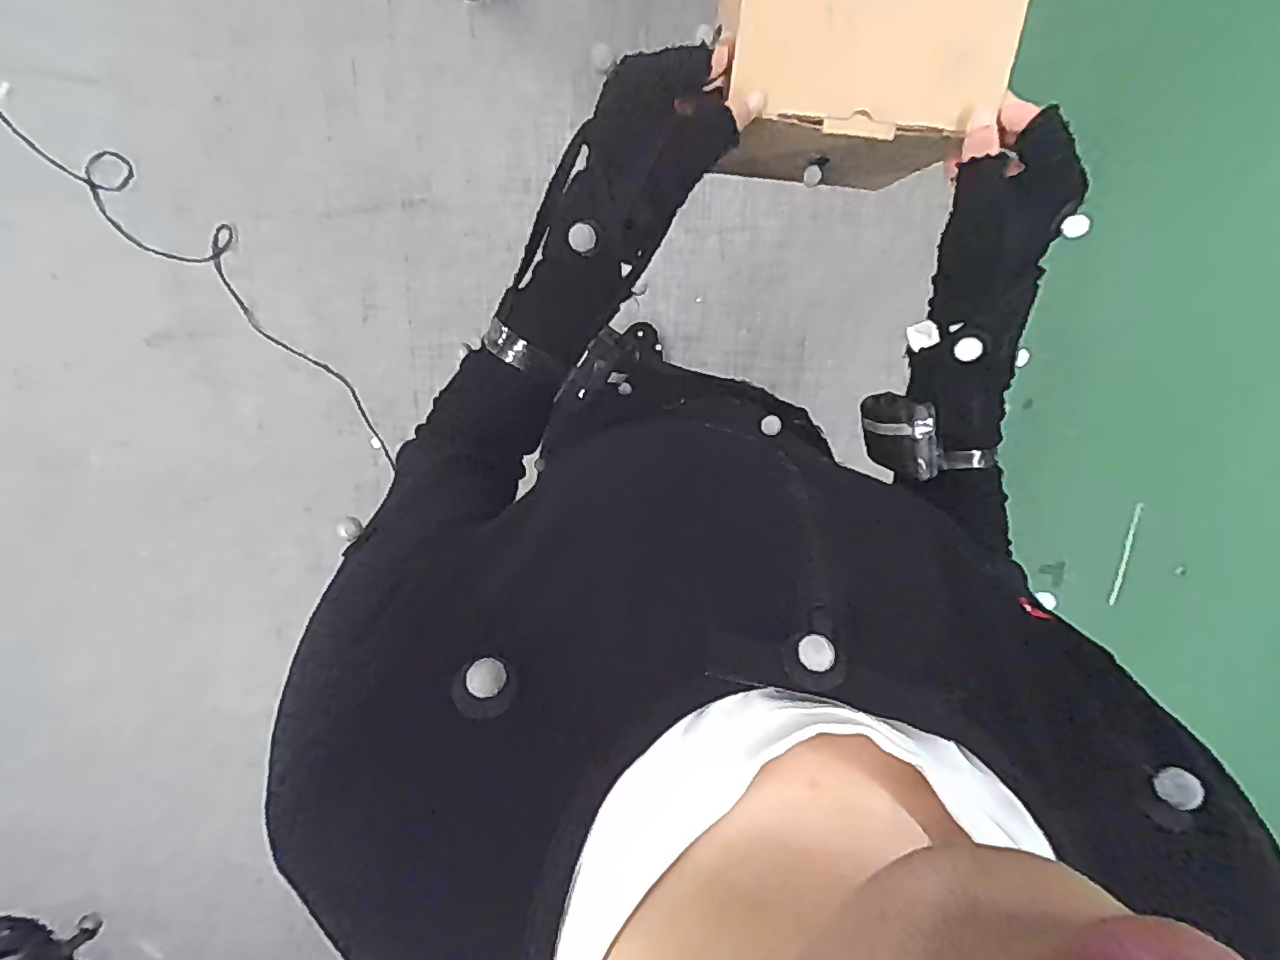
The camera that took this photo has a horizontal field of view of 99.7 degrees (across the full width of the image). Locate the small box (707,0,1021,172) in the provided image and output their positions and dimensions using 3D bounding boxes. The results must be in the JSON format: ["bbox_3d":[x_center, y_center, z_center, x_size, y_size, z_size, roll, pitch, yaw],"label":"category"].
[{"bbox_3d":[0.145,-0.334,0.382,0.168,0.176,0.179,5,110,-2],"label":"small box"}]
